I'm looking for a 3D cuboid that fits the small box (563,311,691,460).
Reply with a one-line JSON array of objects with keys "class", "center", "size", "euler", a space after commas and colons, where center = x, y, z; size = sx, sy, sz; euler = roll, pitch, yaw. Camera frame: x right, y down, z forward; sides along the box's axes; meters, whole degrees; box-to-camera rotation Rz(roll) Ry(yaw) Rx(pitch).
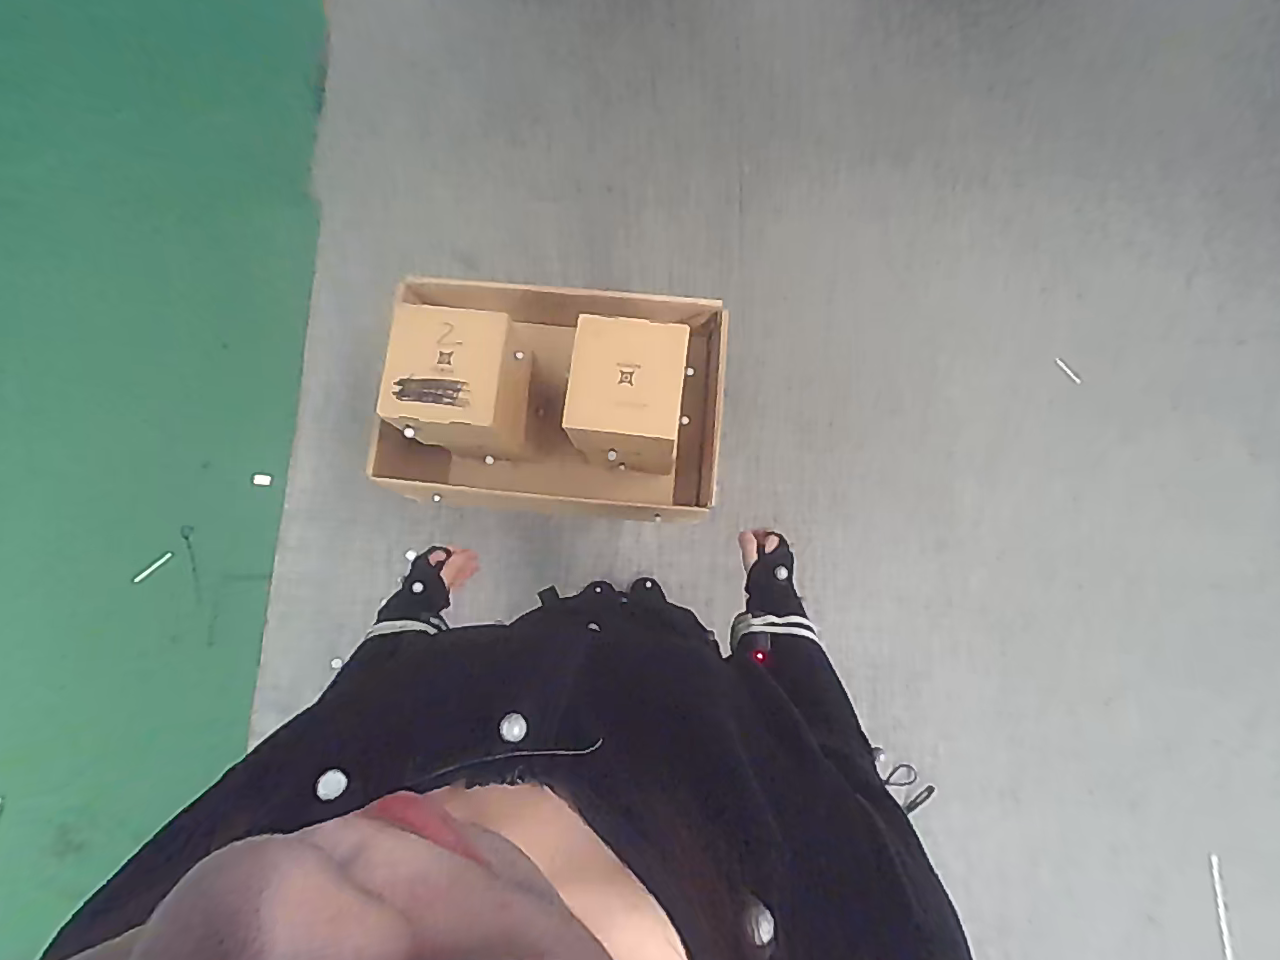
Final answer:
[{"class": "small box", "center": [-0.016, -0.141, 0.855], "size": [0.168, 0.176, 0.179], "euler": [8, 82, 3]}]
